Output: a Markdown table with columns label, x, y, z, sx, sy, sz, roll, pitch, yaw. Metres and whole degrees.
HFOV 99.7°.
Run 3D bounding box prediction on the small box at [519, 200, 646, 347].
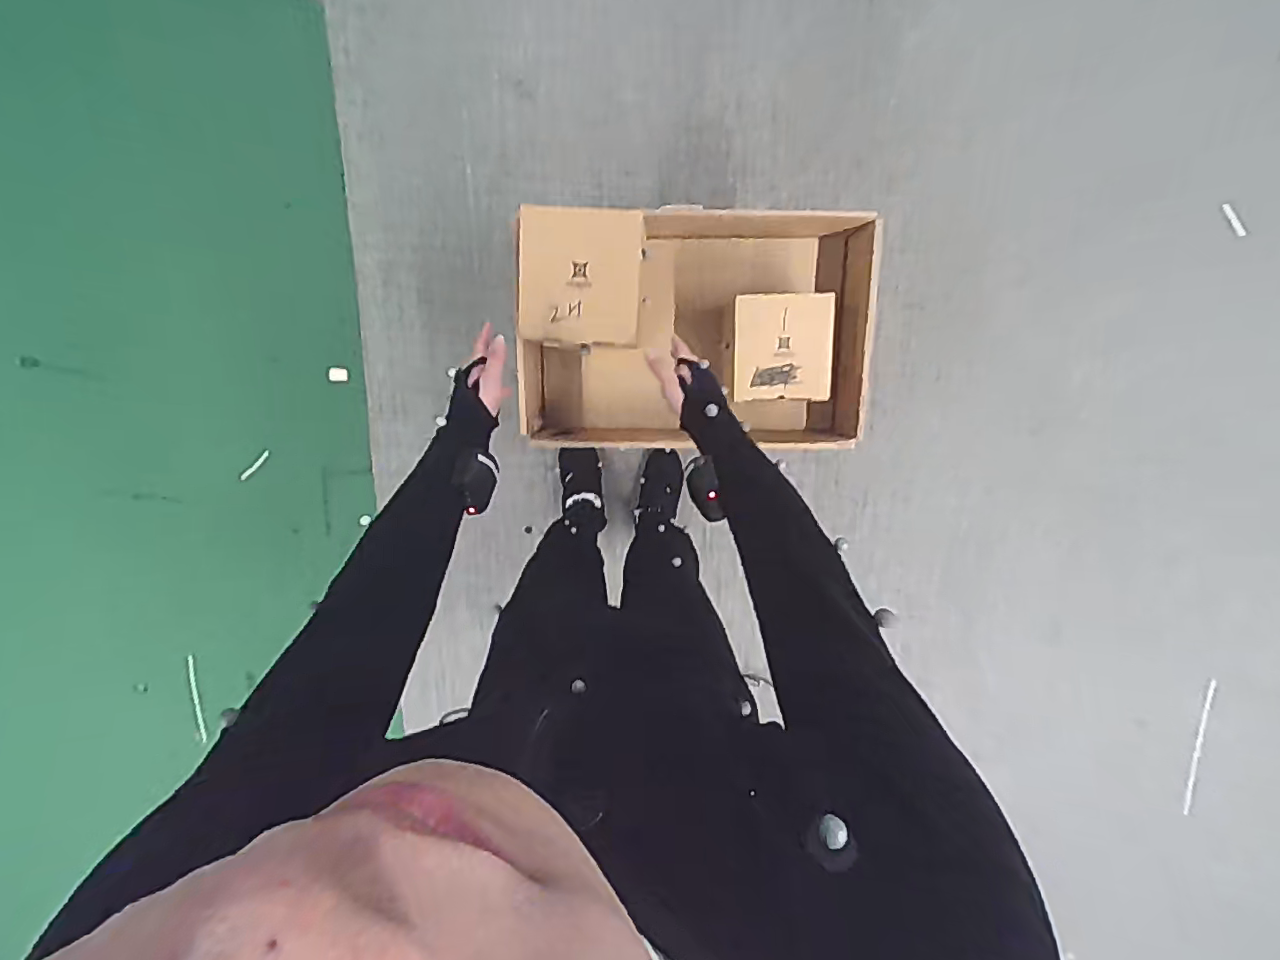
| label | x | y | z | sx | sy | sz | roll | pitch | yaw |
| --- | --- | --- | --- | --- | --- | --- | --- | --- | --- |
| small box | -0.079 | -0.297 | 0.809 | 0.168 | 0.176 | 0.179 | 4 | 102 | 1 |
